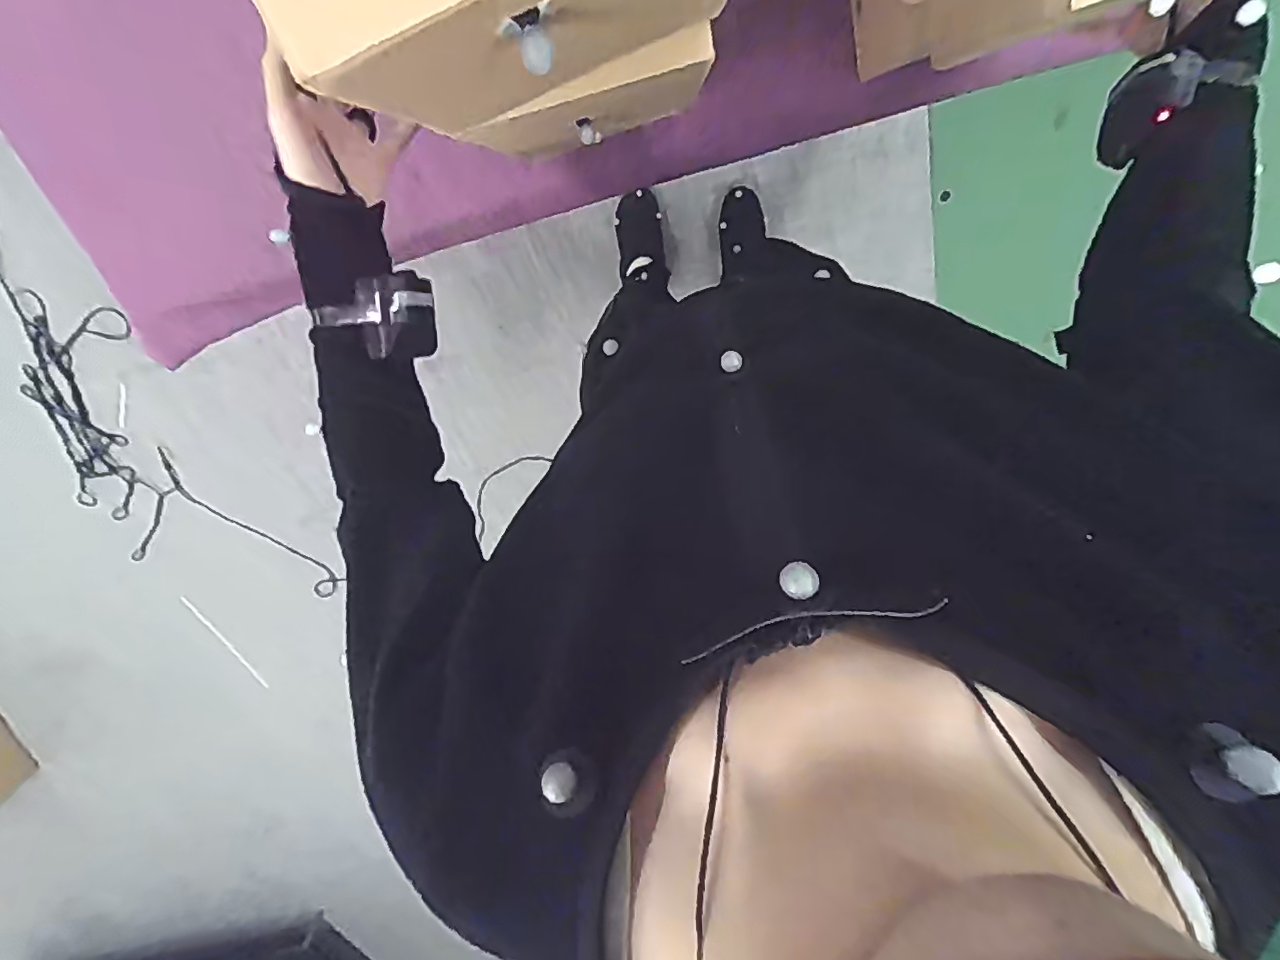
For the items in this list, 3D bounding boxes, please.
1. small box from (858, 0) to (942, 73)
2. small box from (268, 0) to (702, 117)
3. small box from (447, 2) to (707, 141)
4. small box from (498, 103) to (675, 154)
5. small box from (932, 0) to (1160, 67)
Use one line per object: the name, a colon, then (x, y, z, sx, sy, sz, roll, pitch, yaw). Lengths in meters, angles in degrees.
small box: (0.292, -0.482, 0.460, 0.179, 0.176, 0.168, -16, 117, 9)
small box: (-0.061, -0.270, 0.210, 0.179, 0.176, 0.168, -17, 117, 11)
small box: (-0.054, -0.341, 0.356, 0.168, 0.176, 0.179, -11, 117, 7)
small box: (-0.059, -0.420, 0.500, 0.179, 0.176, 0.168, -14, 116, 8)
small box: (0.293, -0.390, 0.322, 0.168, 0.176, 0.179, -13, 116, 9)
